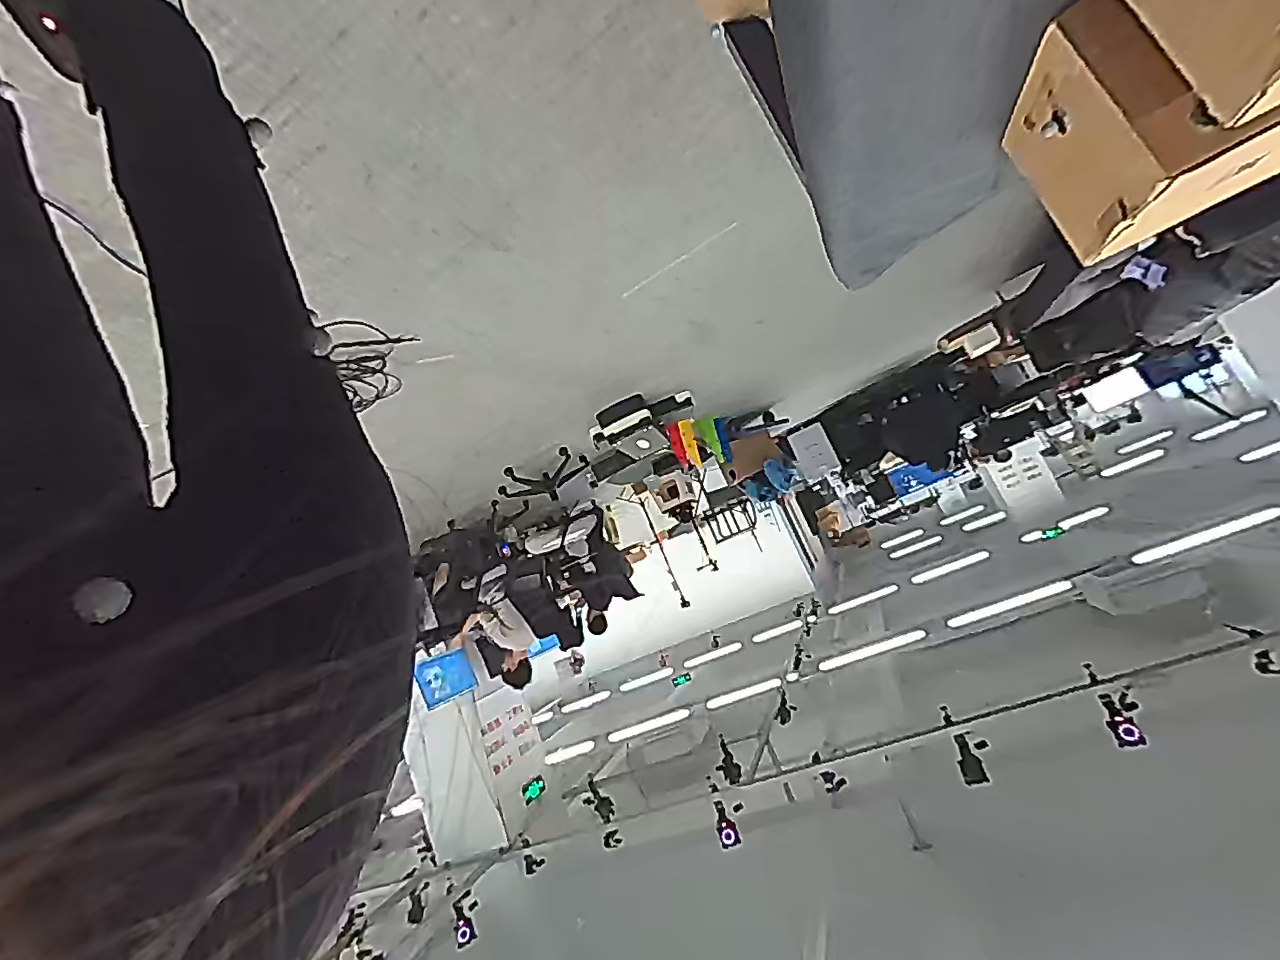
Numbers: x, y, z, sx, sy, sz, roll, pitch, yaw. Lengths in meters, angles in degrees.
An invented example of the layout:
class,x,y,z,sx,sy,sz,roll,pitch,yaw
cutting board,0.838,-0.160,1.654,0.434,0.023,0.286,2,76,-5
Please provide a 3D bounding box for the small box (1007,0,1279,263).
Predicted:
class,x,y,z,sx,sy,sz,roll,pitch,yaw
small box,0.460,-0.330,0.458,0.179,0.176,0.168,-26,169,20
